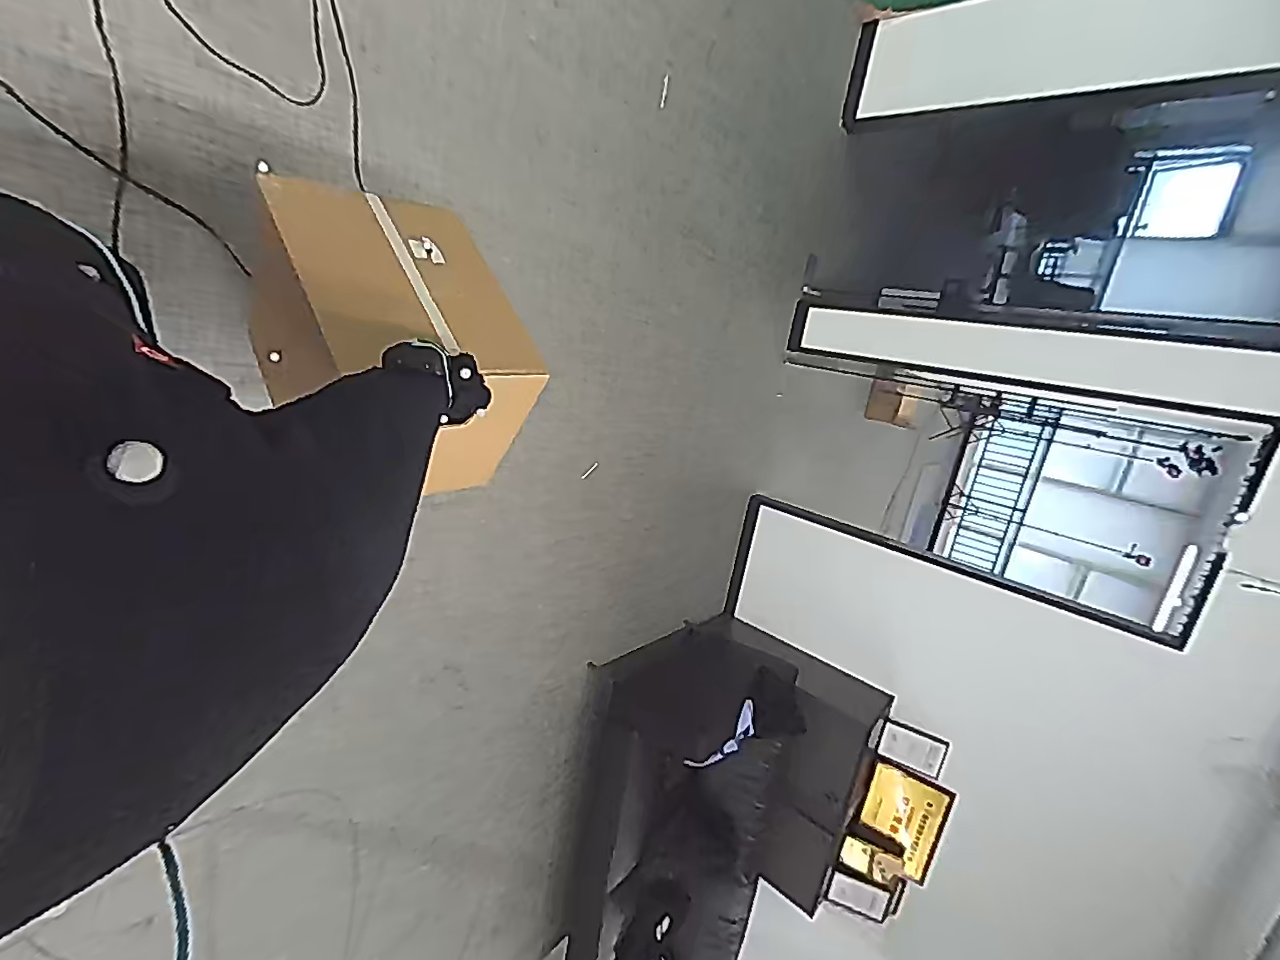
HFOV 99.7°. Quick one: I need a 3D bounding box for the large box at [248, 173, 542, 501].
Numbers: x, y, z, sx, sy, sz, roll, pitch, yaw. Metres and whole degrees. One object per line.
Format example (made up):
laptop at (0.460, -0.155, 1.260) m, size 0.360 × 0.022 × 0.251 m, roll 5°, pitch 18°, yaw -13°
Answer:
large box at (-0.435, -0.230, 0.928) m, size 0.320 × 0.408 × 0.320 m, roll -12°, pitch 153°, yaw -45°
